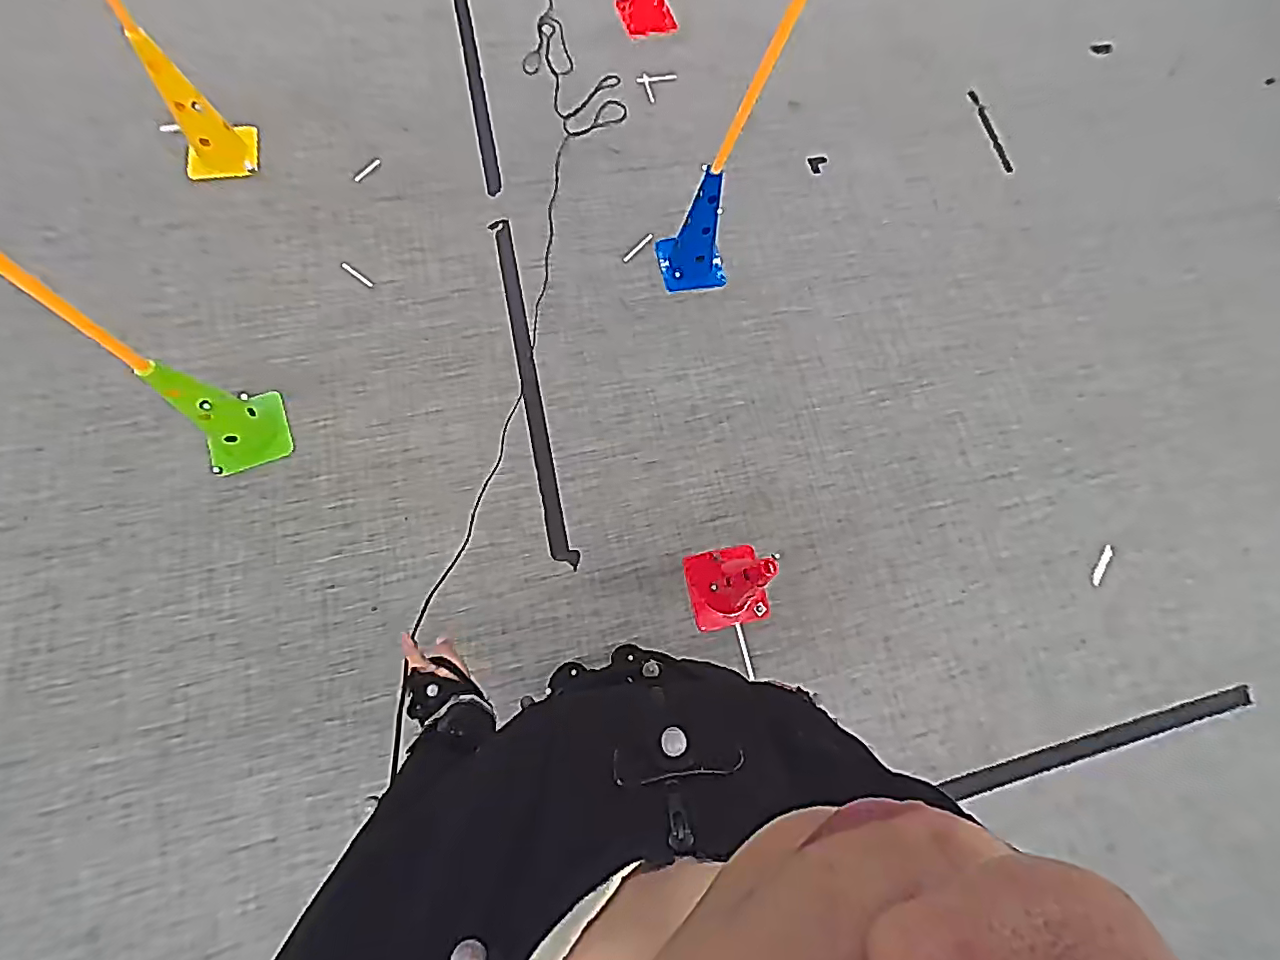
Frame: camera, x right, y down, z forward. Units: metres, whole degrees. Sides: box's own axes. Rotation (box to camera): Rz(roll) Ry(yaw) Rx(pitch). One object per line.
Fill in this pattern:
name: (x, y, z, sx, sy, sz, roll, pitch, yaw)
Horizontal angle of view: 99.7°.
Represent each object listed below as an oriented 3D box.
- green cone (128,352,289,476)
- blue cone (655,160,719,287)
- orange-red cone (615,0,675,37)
green cone: (-1.035, -0.182, 1.272, 0.200, 0.368, 0.202, -21, 74, -12)
blue cone: (0.167, -0.752, 1.578, 0.193, 0.380, 0.192, -8, 73, -8)
orange-red cone: (0.030, -1.810, 1.888, 0.199, 0.360, 0.198, -17, 74, -9)
